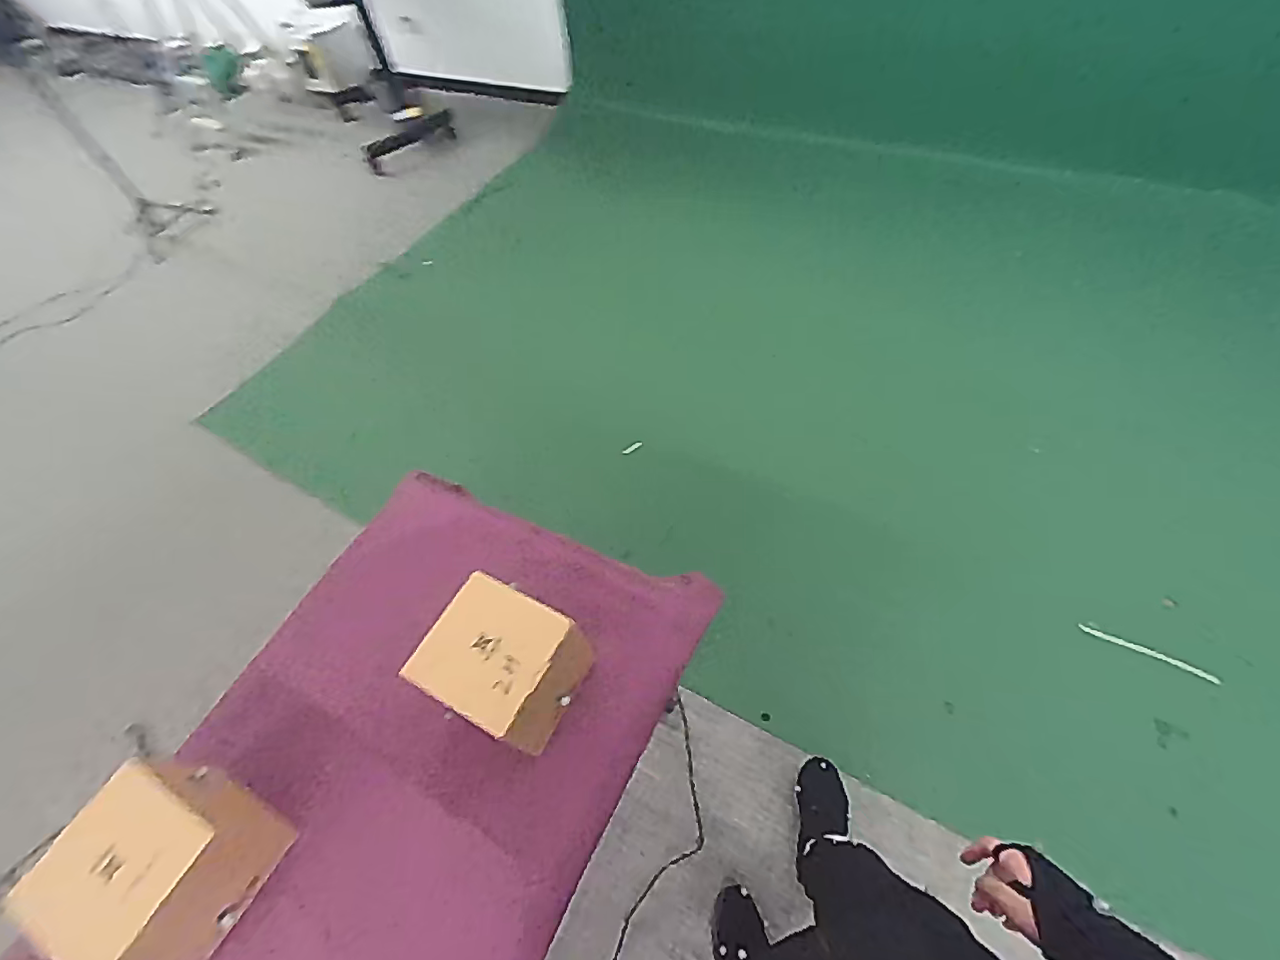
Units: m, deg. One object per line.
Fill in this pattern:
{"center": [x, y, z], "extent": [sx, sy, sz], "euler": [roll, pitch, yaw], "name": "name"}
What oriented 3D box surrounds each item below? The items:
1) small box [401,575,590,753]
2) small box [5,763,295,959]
{"center": [-0.196, 0.271, 0.784], "extent": [0.179, 0.176, 0.168], "euler": [22, 62, 21], "name": "small box"}
{"center": [-0.598, 0.492, 0.684], "extent": [0.179, 0.176, 0.168], "euler": [22, 62, 19], "name": "small box"}
